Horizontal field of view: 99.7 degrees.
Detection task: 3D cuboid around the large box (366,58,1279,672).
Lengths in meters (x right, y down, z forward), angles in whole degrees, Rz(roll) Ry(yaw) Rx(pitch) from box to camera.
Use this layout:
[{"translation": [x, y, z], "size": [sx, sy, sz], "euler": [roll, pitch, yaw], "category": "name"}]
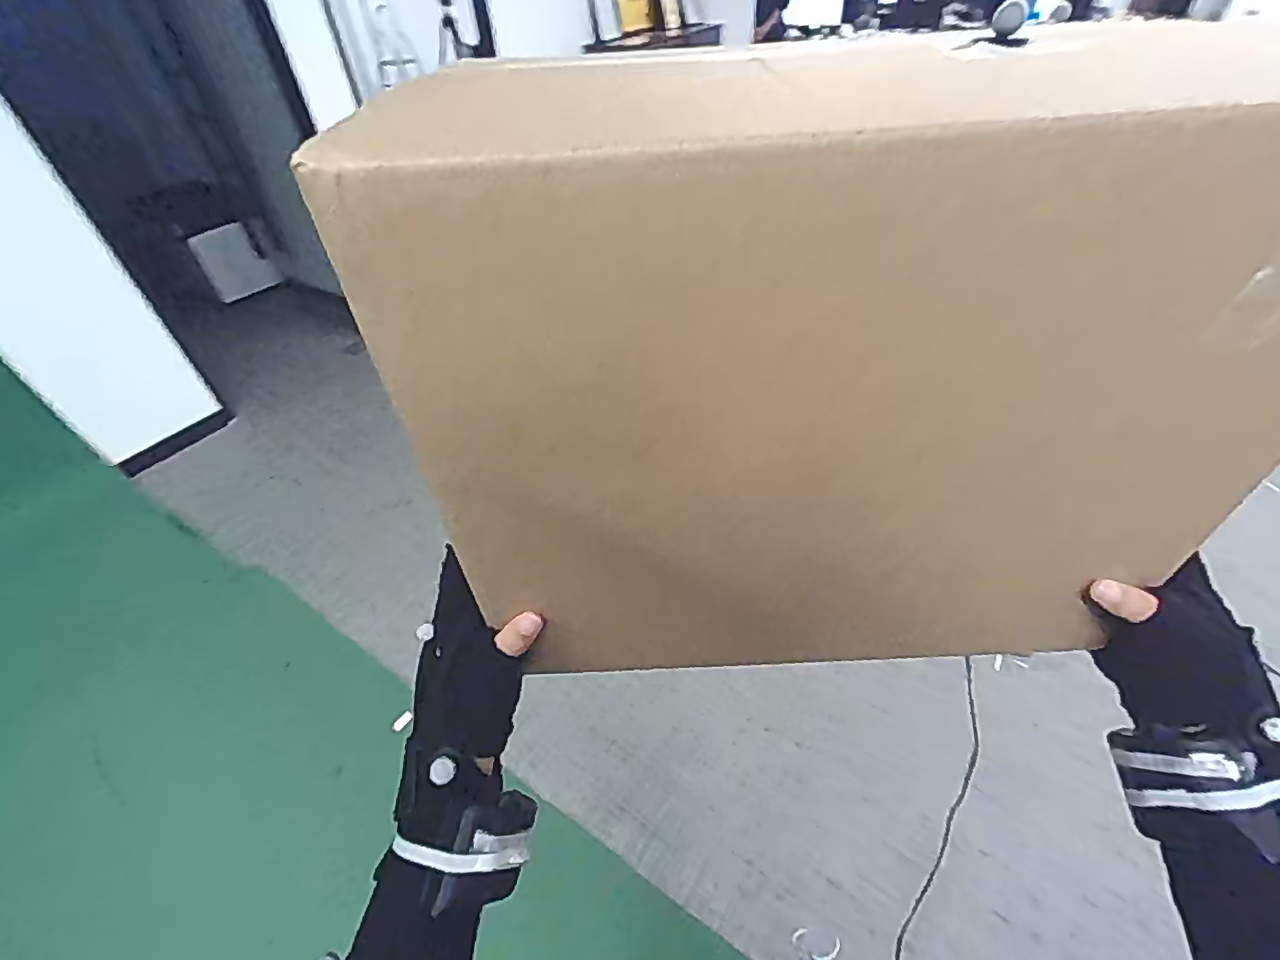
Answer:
[{"translation": [0.104, -0.088, 0.383], "size": [0.408, 0.320, 0.320], "euler": [-2, 42, 0], "category": "large box"}]
